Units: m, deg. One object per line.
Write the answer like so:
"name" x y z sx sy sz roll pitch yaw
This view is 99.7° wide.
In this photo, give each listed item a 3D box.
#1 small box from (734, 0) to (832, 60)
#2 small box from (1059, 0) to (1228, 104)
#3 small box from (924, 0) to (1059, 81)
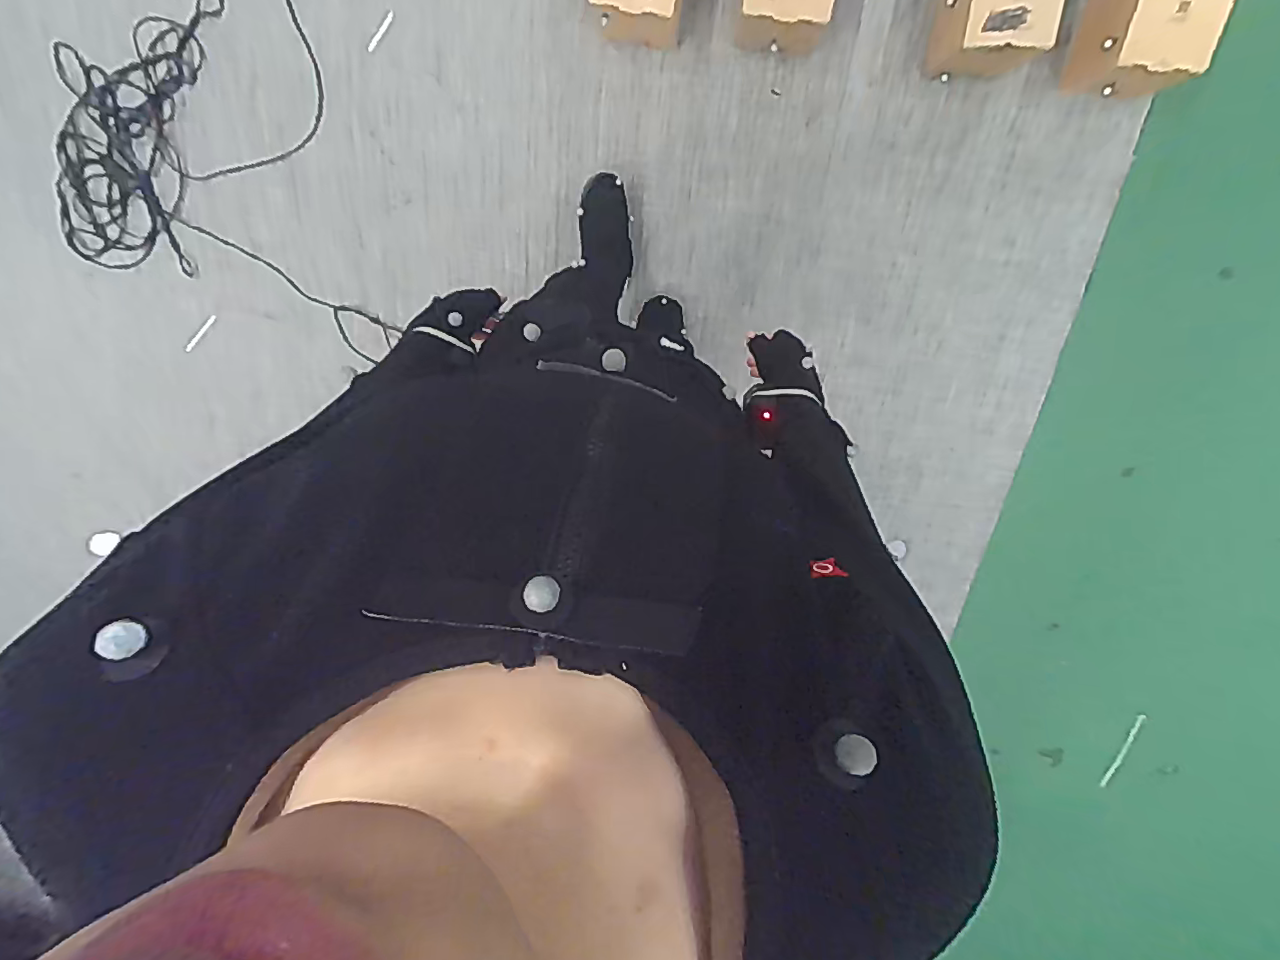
"small box" 0.283 -0.960 1.051 0.168 0.176 0.179 8 111 1
"small box" 0.972 -0.868 1.053 0.168 0.176 0.179 6 111 2
"small box" 0.681 -0.906 1.053 0.168 0.176 0.179 2 110 2
